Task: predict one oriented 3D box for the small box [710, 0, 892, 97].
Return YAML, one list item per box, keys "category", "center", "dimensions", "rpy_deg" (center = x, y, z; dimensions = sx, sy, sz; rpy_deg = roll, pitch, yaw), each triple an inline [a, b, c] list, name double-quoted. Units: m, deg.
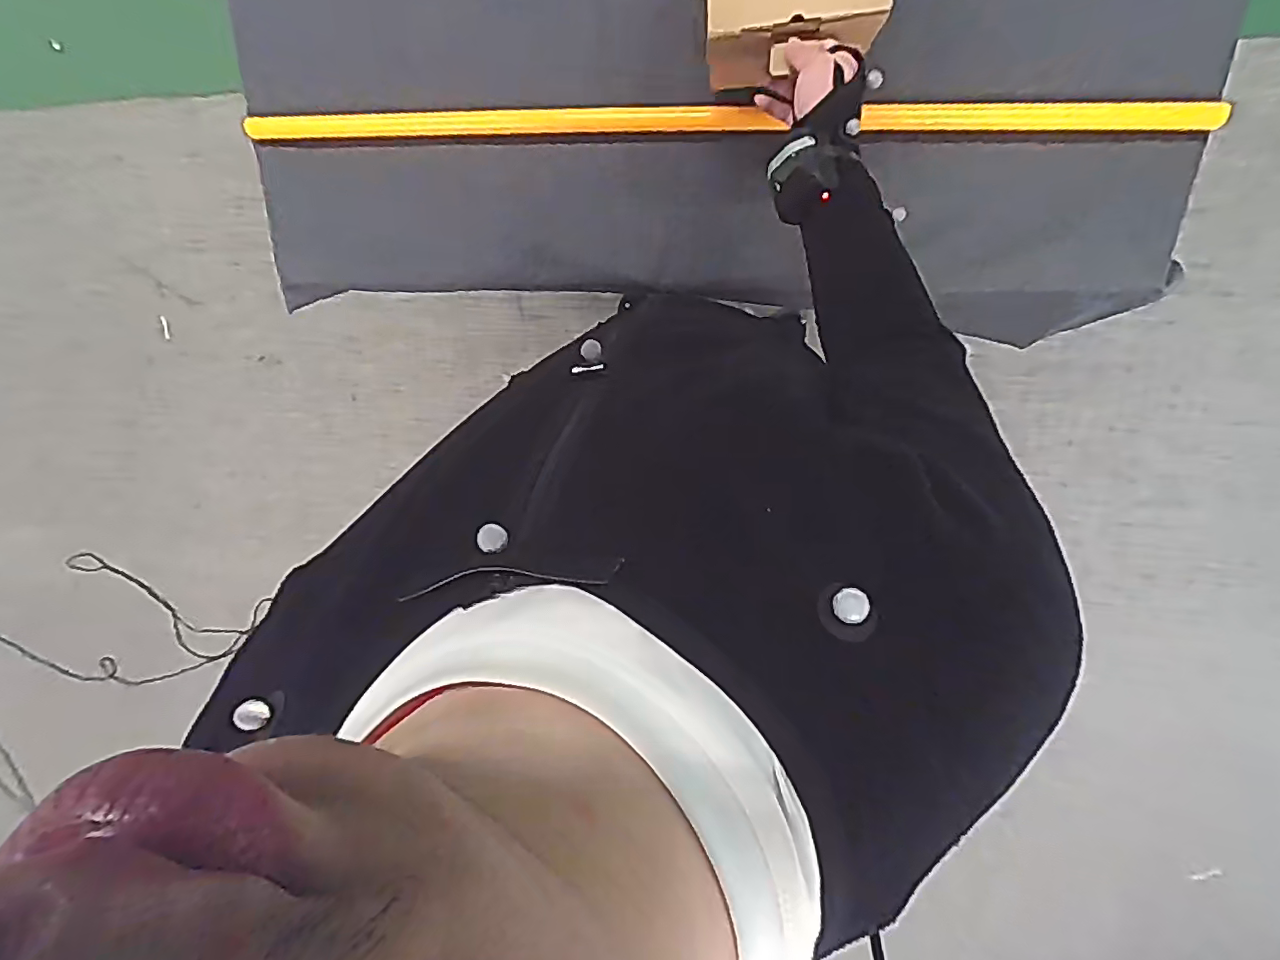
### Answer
- category: "small box"
  center: [0.159, -0.521, 0.555]
  dimensions: [0.168, 0.176, 0.179]
  rpy_deg: [-1, 110, 12]
